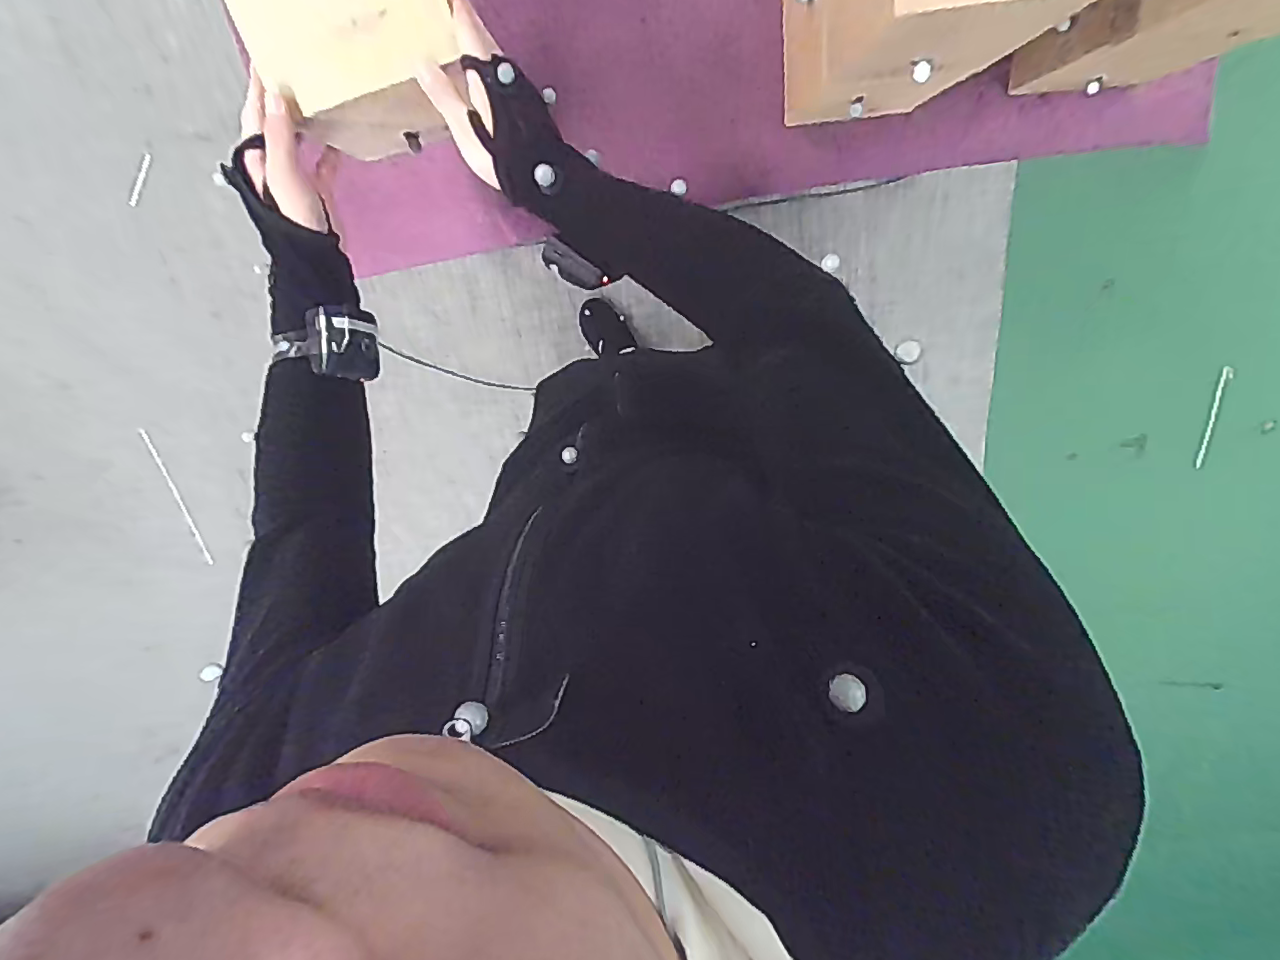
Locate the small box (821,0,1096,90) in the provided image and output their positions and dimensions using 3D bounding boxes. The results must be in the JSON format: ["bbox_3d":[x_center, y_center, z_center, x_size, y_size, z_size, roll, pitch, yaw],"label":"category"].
[{"bbox_3d":[0.257,-0.461,0.449,0.168,0.176,0.179,-5,111,3],"label":"small box"}]

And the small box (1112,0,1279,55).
[{"bbox_3d":[0.538,-0.484,0.435,0.168,0.176,0.179,-3,111,3],"label":"small box"}]

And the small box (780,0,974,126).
[{"bbox_3d":[0.257,-0.517,0.603,0.168,0.176,0.179,-6,110,3],"label":"small box"}]

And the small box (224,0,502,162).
[{"bbox_3d":[-0.241,-0.415,0.481,0.168,0.176,0.179,-16,111,4],"label":"small box"}]
